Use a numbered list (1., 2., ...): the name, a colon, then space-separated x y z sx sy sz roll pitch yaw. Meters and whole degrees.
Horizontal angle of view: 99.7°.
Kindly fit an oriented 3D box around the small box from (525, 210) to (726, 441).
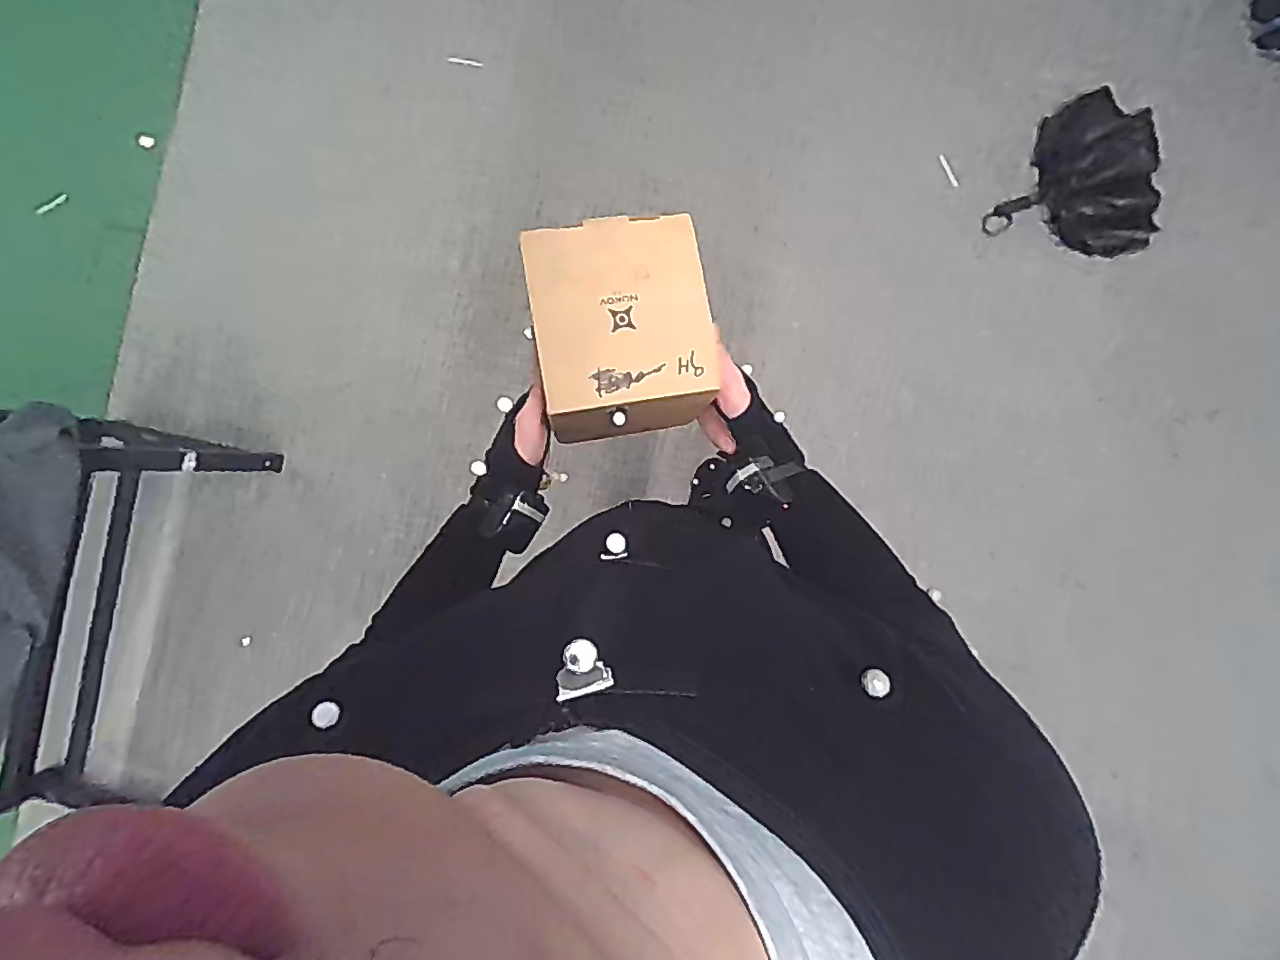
1. small box: -0.022 -0.152 0.578 0.168 0.176 0.179 -10 85 -6
